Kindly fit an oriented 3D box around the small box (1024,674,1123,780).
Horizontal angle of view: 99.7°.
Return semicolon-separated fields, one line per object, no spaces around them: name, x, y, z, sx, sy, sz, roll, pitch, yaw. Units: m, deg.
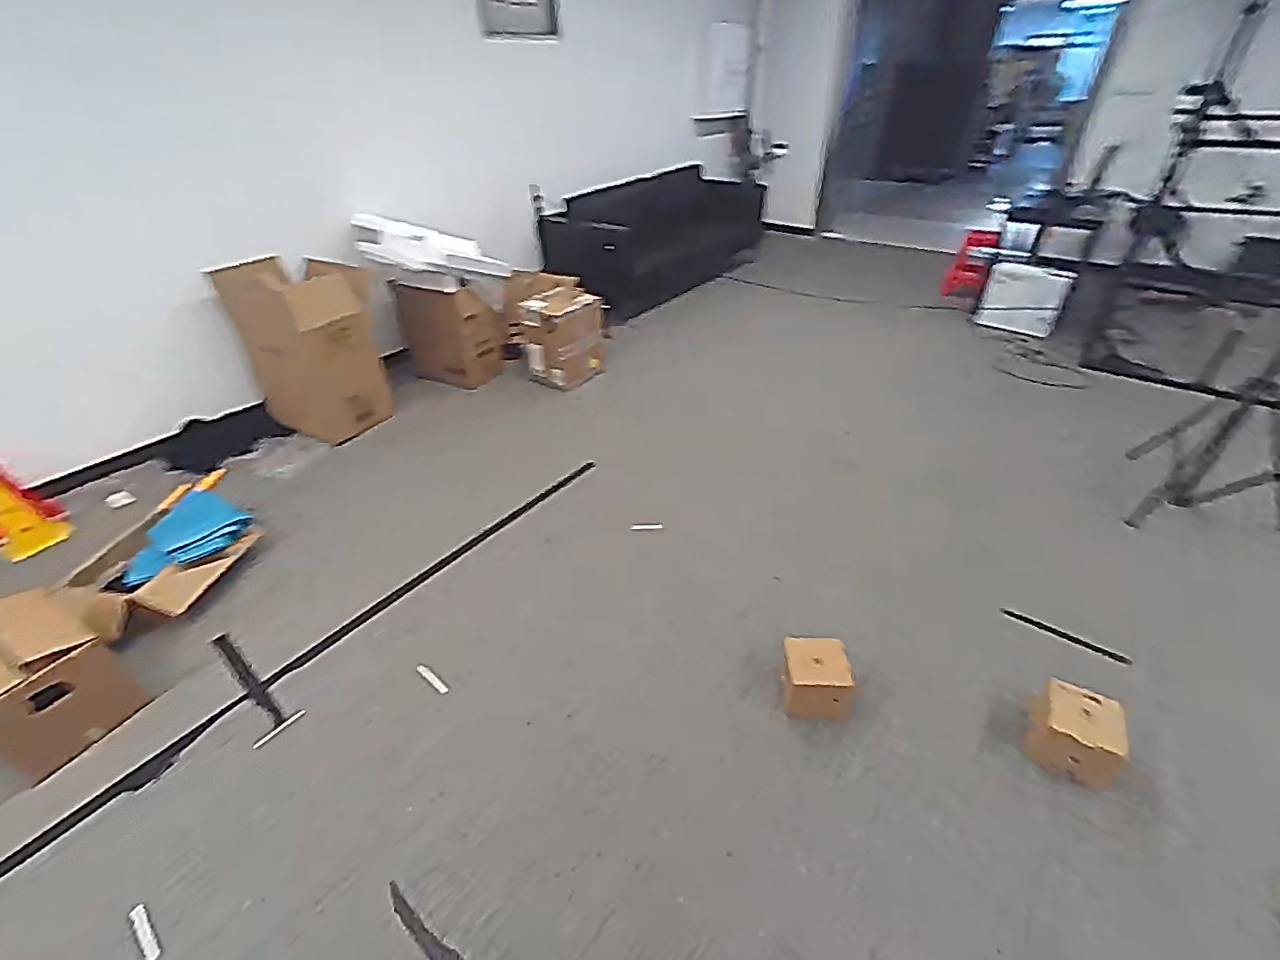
small box;1.188;0.682;1.490;0.168;0.176;0.179;19;42;25

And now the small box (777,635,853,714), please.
small box;0.526;0.594;1.646;0.179;0.176;0.168;-1;35;3
